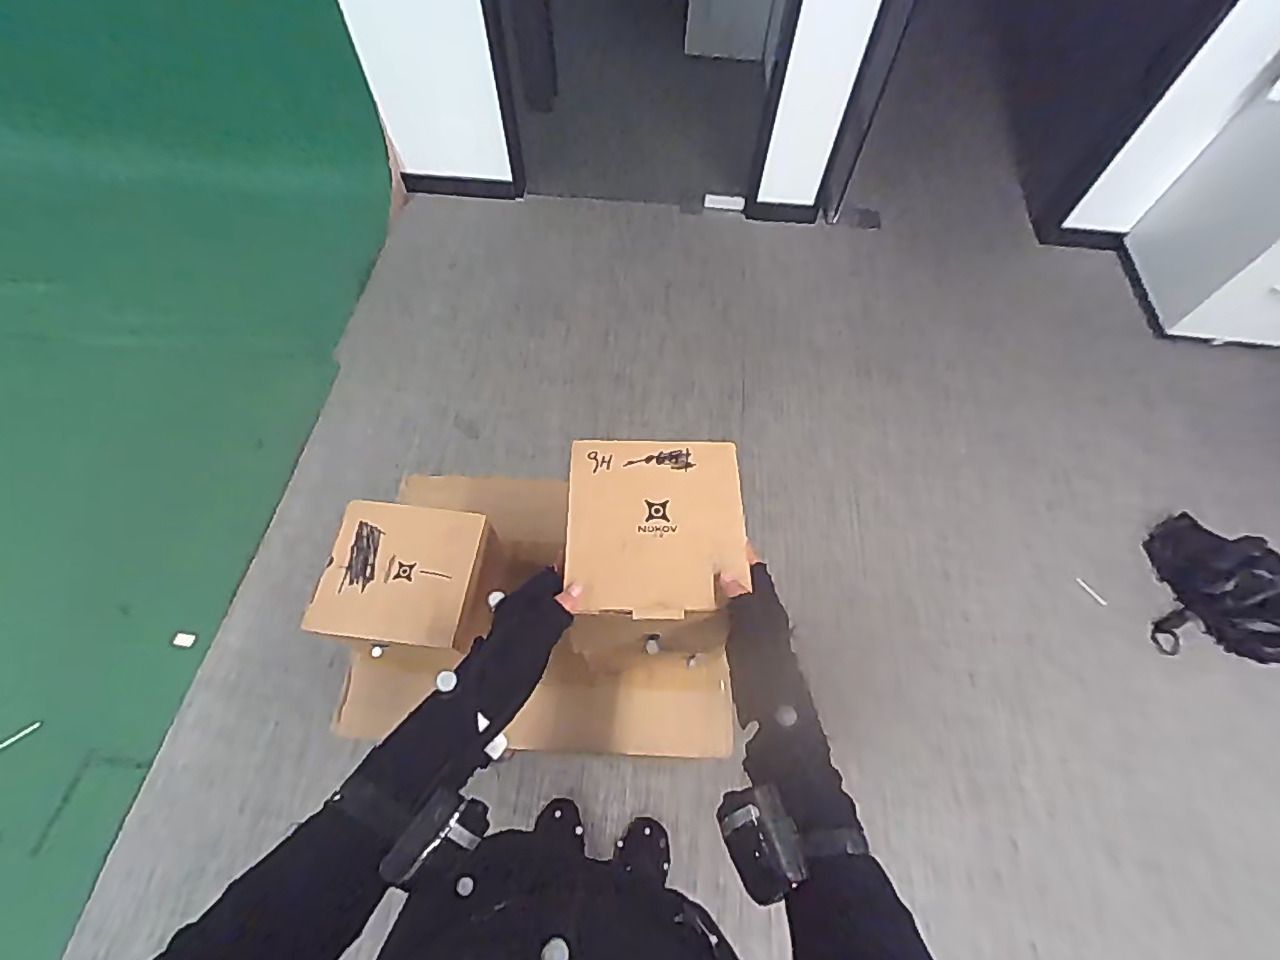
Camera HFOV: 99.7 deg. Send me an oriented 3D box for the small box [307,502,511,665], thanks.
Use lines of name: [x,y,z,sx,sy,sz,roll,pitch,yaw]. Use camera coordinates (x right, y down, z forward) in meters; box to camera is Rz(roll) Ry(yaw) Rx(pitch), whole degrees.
small box: [-0.286,0.144,0.718,0.179,0.176,0.168,6,64,2]

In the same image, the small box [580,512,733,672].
small box: [0.014,0.154,0.721,0.179,0.176,0.168,-4,61,-2]
